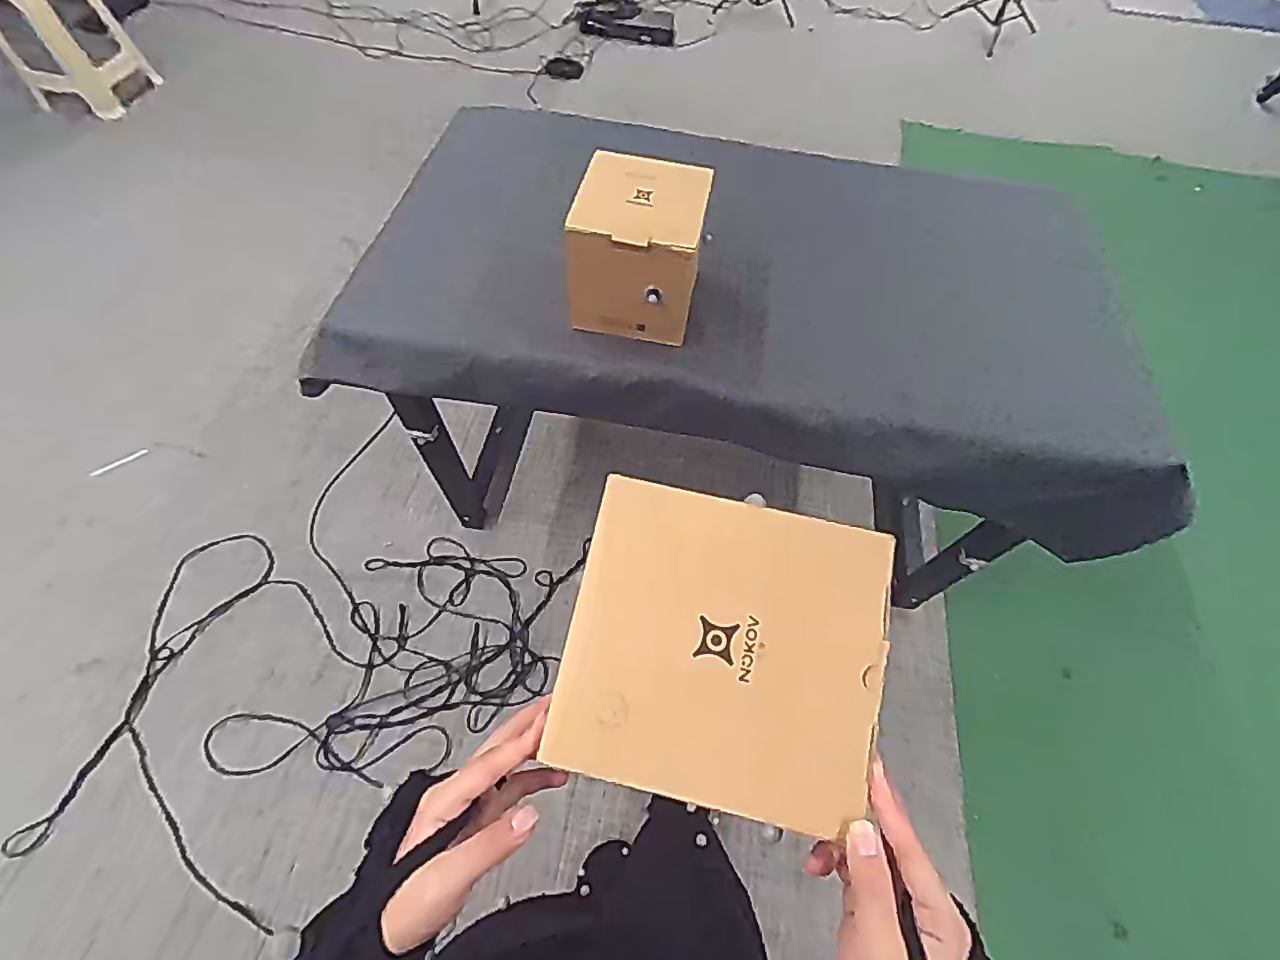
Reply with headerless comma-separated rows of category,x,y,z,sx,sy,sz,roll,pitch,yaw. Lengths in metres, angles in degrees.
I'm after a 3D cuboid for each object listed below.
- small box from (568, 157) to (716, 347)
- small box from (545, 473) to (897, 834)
small box,0.003,-0.315,0.764,0.168,0.176,0.179,11,59,2
small box,0.051,0.111,0.380,0.179,0.176,0.168,12,74,4
